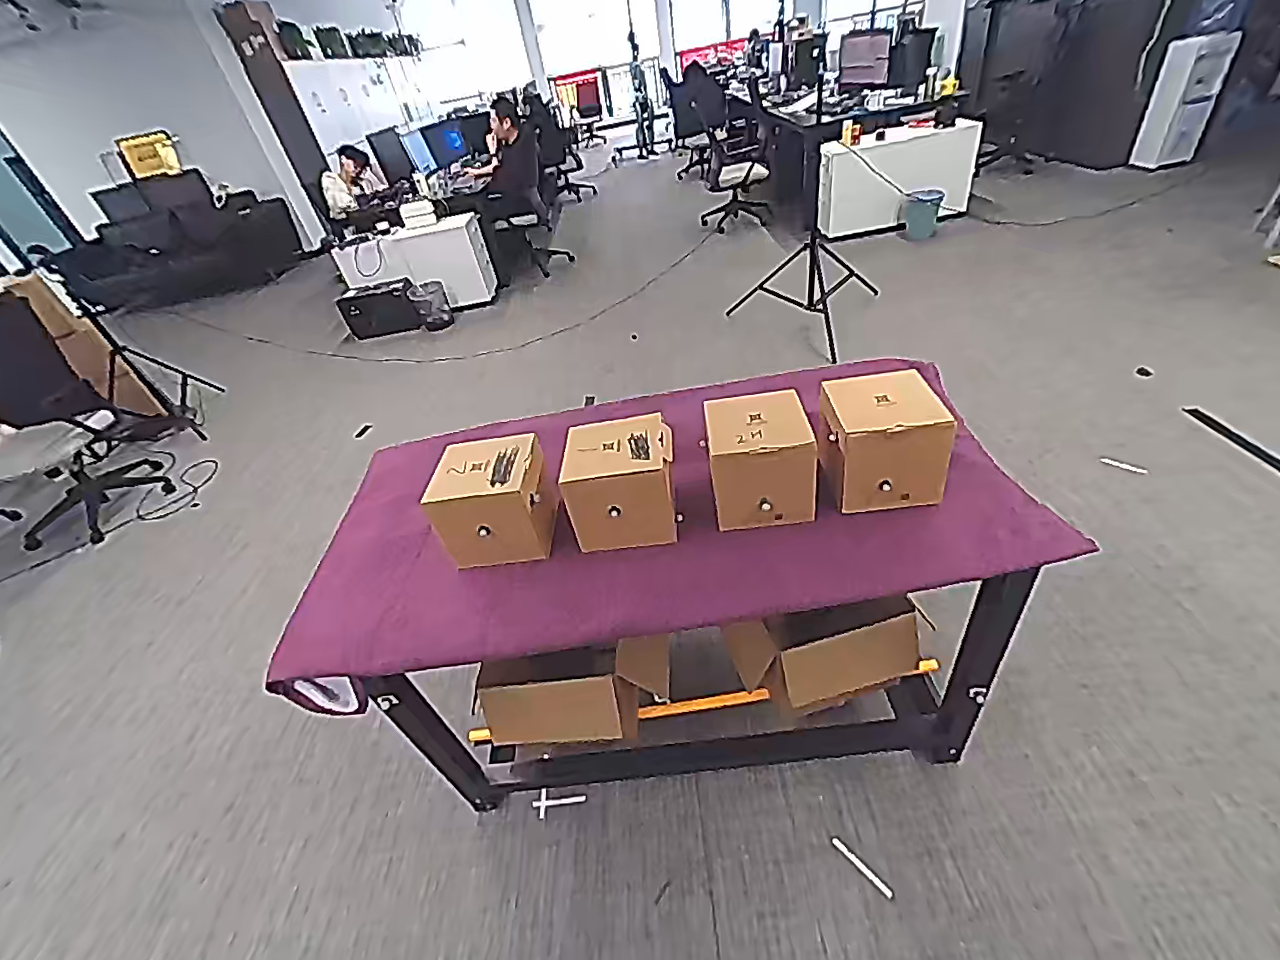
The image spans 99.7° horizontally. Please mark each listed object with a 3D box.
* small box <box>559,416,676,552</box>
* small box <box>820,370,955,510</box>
[{"bbox_3d":[-0.031,0.010,0.973,0.179,0.176,0.168,-8,38,8],"label":"small box"},{"bbox_3d":[0.415,-0.070,0.943,0.168,0.176,0.179,-7,38,8],"label":"small box"}]
